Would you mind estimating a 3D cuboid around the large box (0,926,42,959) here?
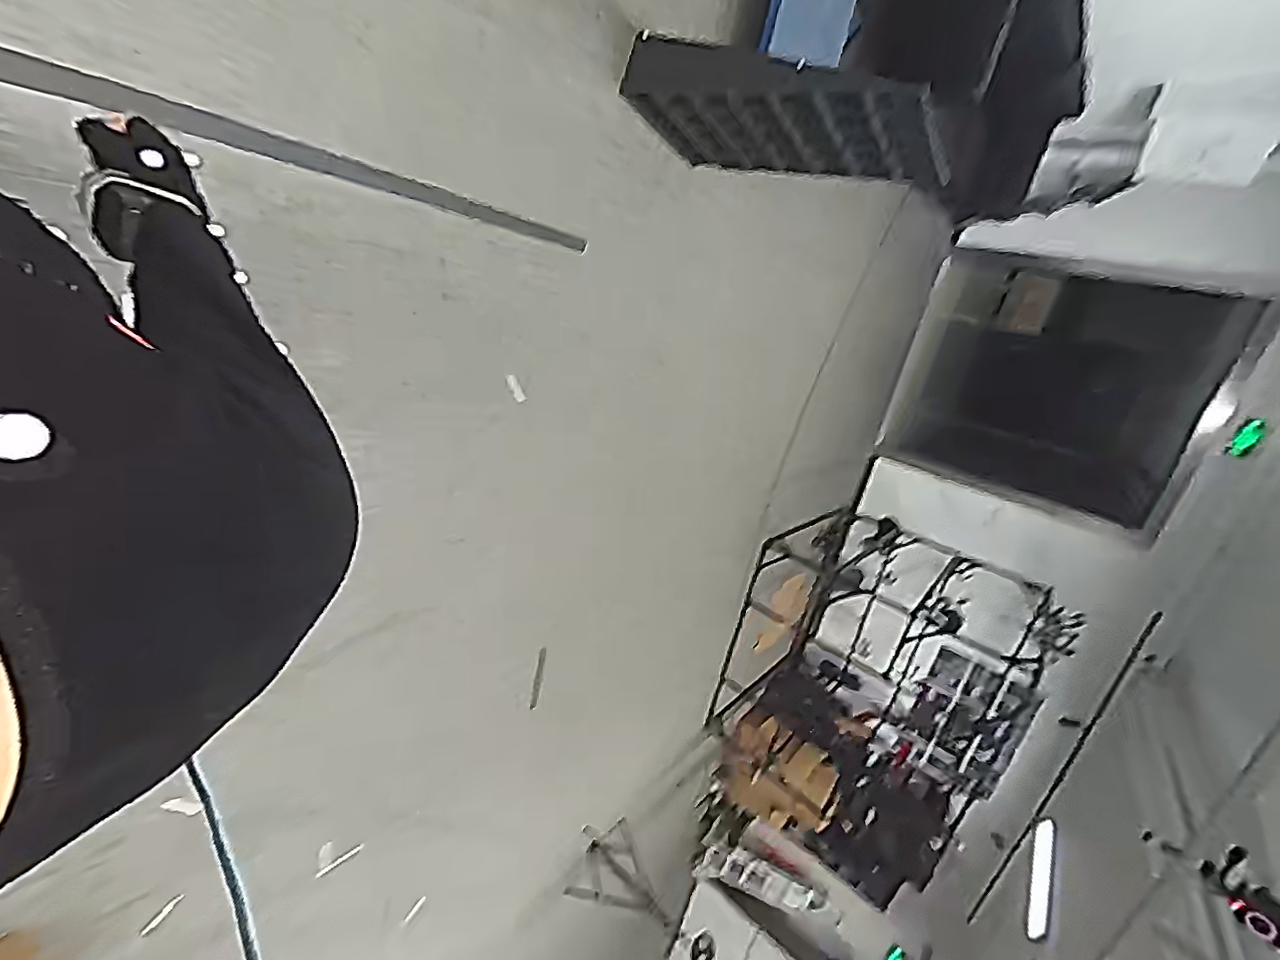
[{"bbox_3d":[-1.589,1.339,1.188,0.408,0.320,0.320,-20,127,-46],"label":"large box"}]
